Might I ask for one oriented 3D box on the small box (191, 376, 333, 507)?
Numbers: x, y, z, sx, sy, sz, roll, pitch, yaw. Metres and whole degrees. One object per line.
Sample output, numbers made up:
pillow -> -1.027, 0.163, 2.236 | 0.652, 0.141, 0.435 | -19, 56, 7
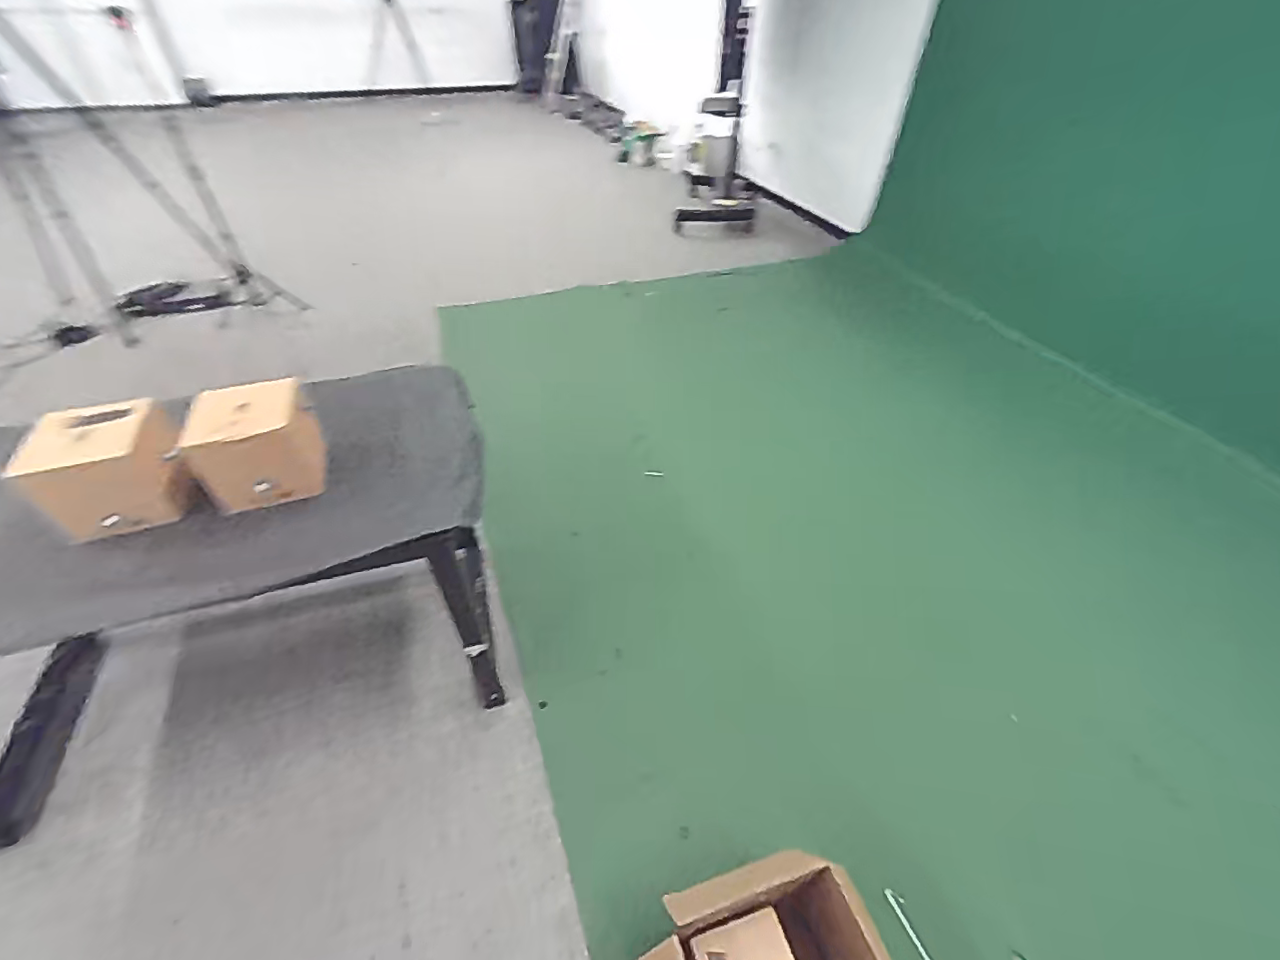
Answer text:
small box -> -0.716, -0.076, 1.049 | 0.168, 0.176, 0.179 | -13, 45, -15
